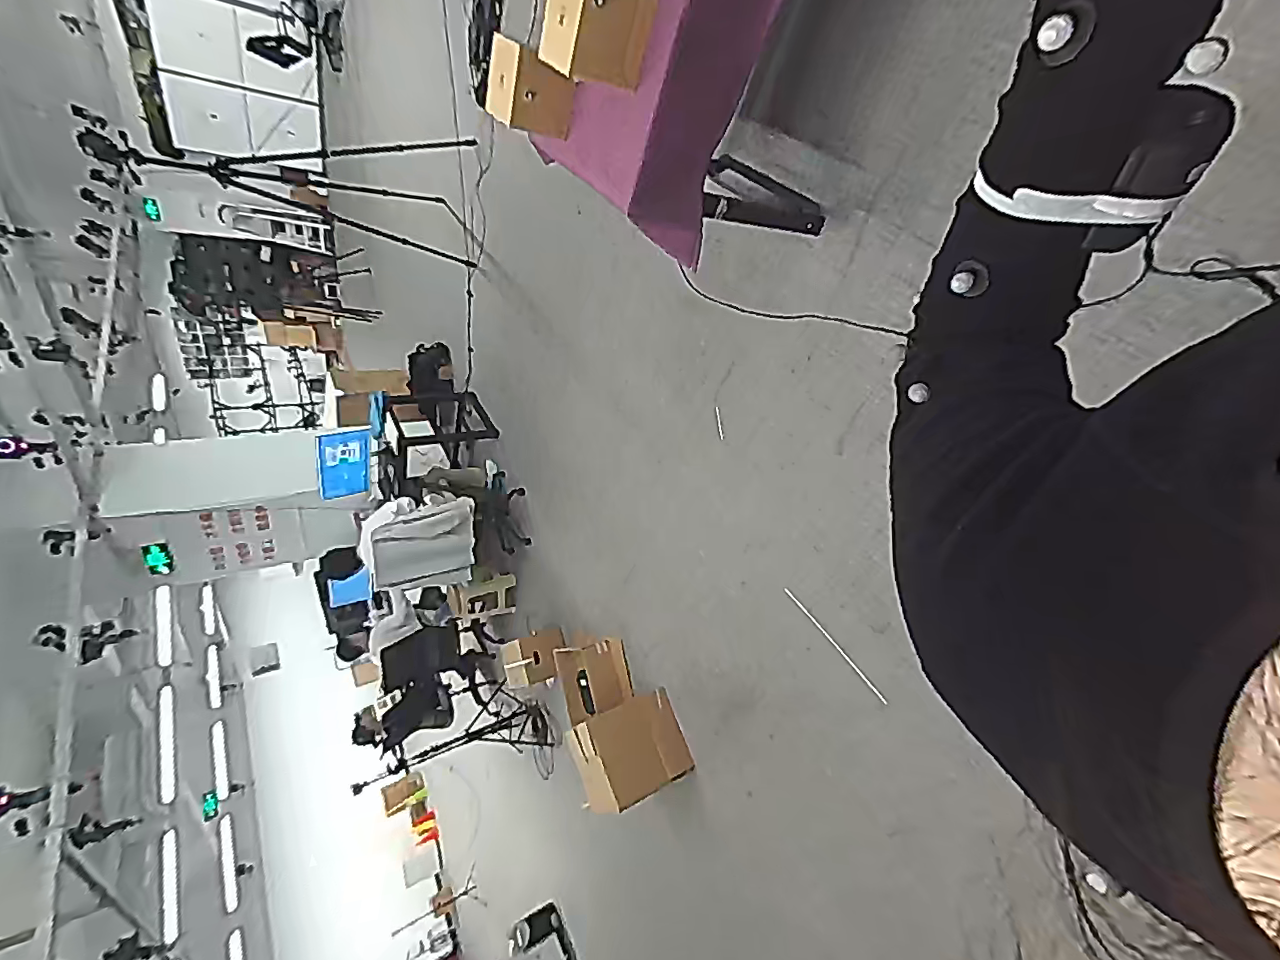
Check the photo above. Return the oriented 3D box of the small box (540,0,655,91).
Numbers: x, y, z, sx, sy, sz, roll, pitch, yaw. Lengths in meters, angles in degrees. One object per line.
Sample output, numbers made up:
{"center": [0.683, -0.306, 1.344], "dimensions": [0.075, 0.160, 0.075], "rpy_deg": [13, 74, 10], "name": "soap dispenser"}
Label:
{"center": [-0.092, -0.967, 1.153], "dimensions": [0.168, 0.176, 0.179], "rpy_deg": [54, 137, 32], "name": "small box"}
